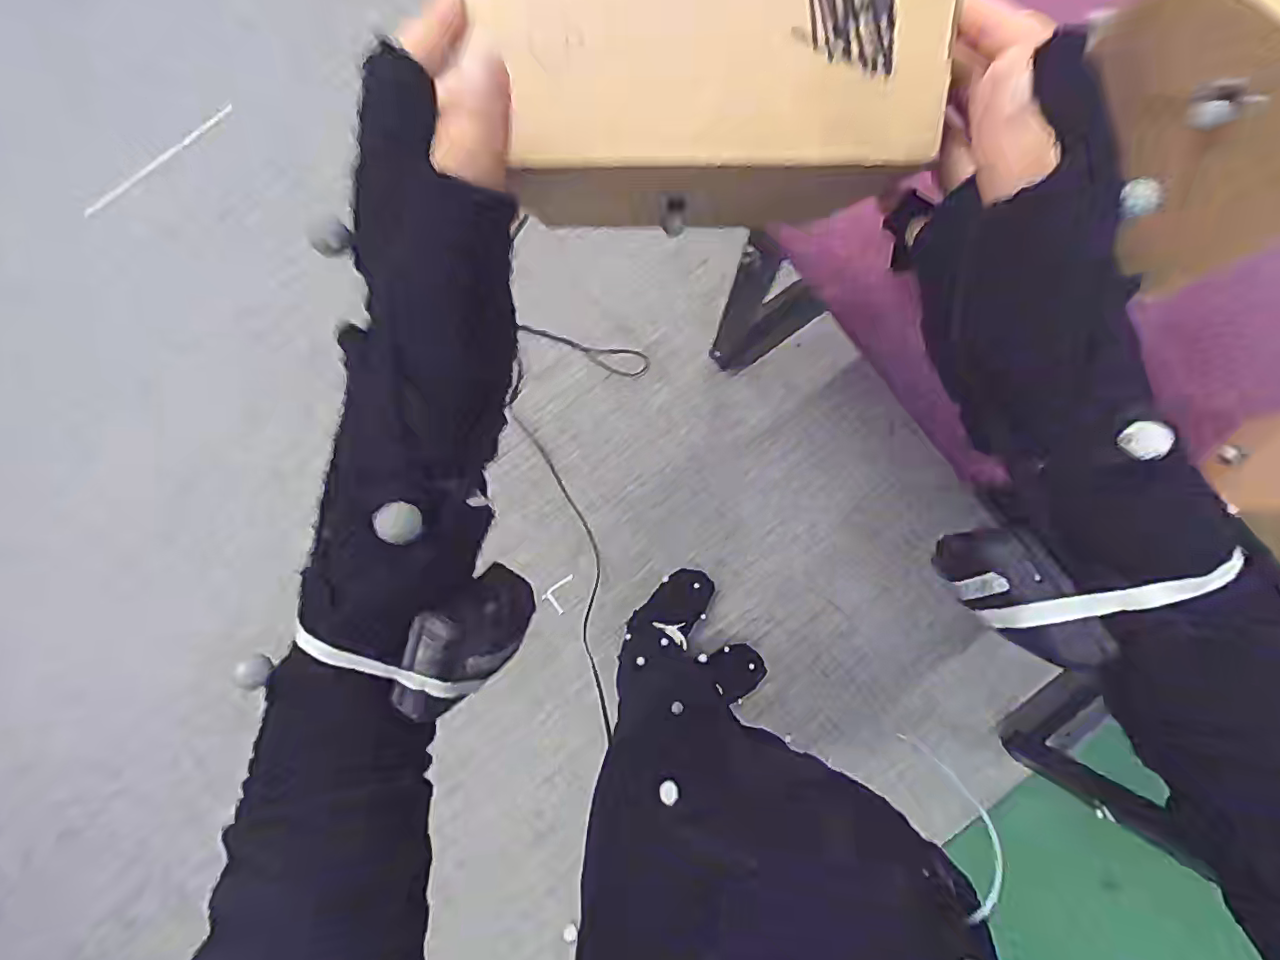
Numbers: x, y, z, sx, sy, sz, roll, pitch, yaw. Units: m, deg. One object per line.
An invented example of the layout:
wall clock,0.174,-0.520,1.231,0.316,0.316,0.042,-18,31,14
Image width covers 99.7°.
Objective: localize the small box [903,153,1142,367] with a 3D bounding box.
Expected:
small box,0.402,-0.242,0.526,0.179,0.176,0.168,-41,86,-4
